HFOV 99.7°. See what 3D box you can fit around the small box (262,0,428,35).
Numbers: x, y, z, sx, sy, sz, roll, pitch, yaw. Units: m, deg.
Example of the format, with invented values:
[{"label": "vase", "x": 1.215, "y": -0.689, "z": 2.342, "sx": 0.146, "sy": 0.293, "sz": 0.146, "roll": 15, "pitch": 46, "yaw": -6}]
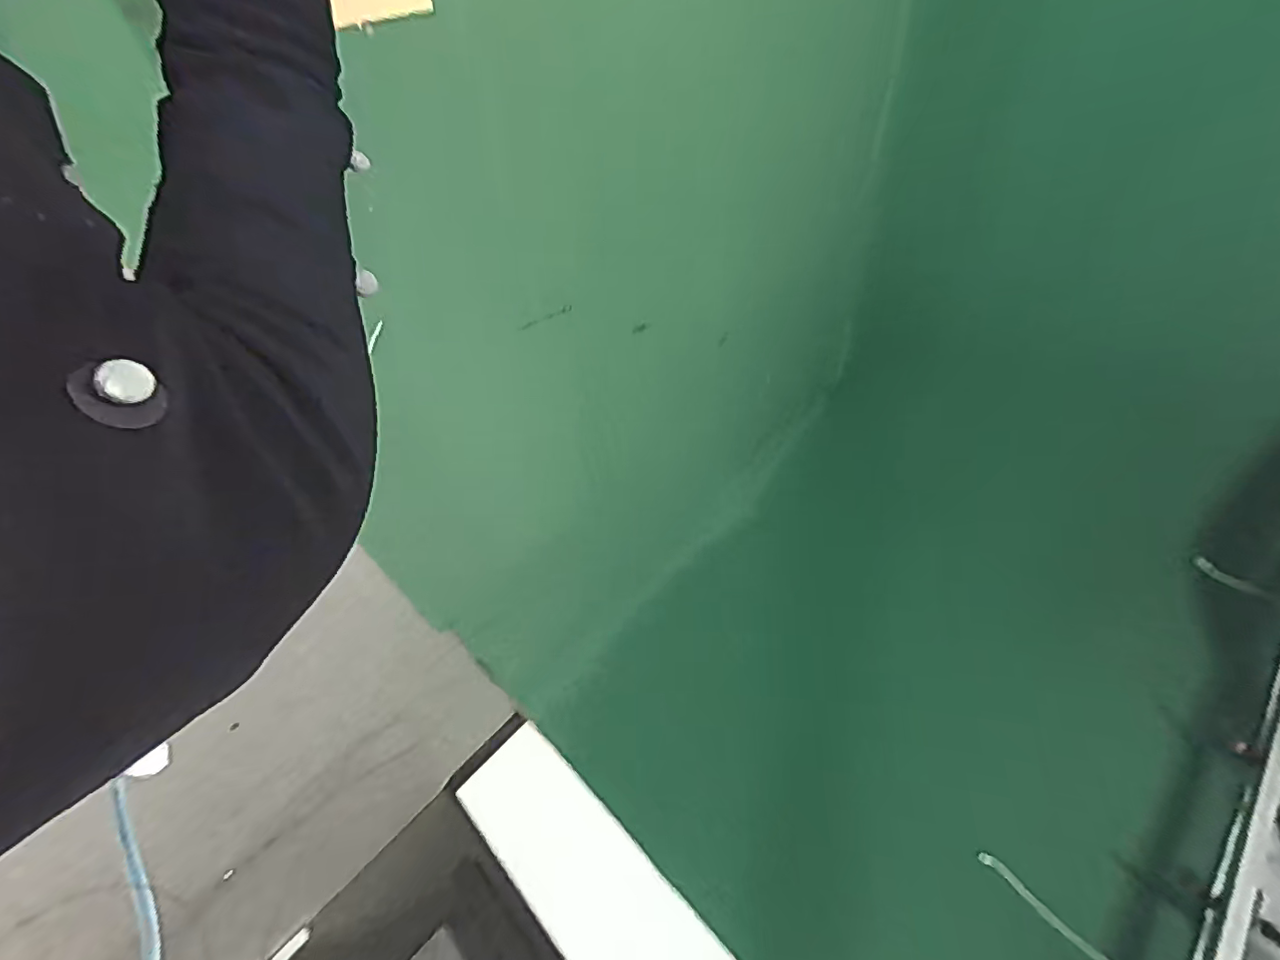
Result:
[{"label": "small box", "x": -0.443, "y": -0.751, "z": 0.763, "sx": 0.179, "sy": 0.176, "sz": 0.168, "roll": -39, "pitch": 143, "yaw": -27}]
